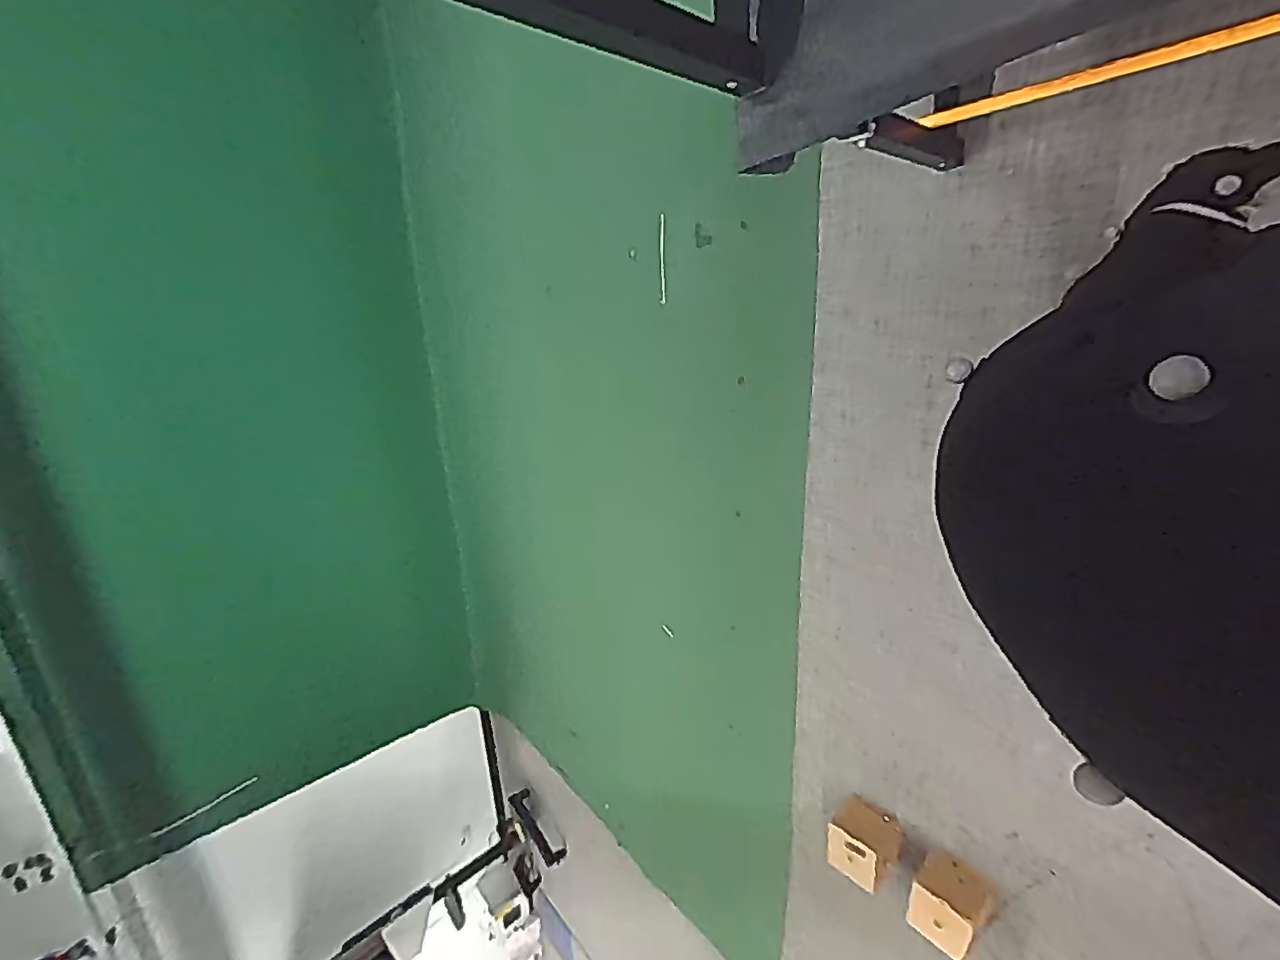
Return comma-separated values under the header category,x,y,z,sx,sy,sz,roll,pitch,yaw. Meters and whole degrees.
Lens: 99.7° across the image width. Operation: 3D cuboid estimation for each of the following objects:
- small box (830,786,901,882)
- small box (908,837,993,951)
category,x,y,z,sx,sy,sz,roll,pitch,yaw
small box,0.764,1.186,1.829,0.168,0.176,0.179,15,114,48
small box,0.937,1.240,1.631,0.168,0.176,0.179,19,117,47
